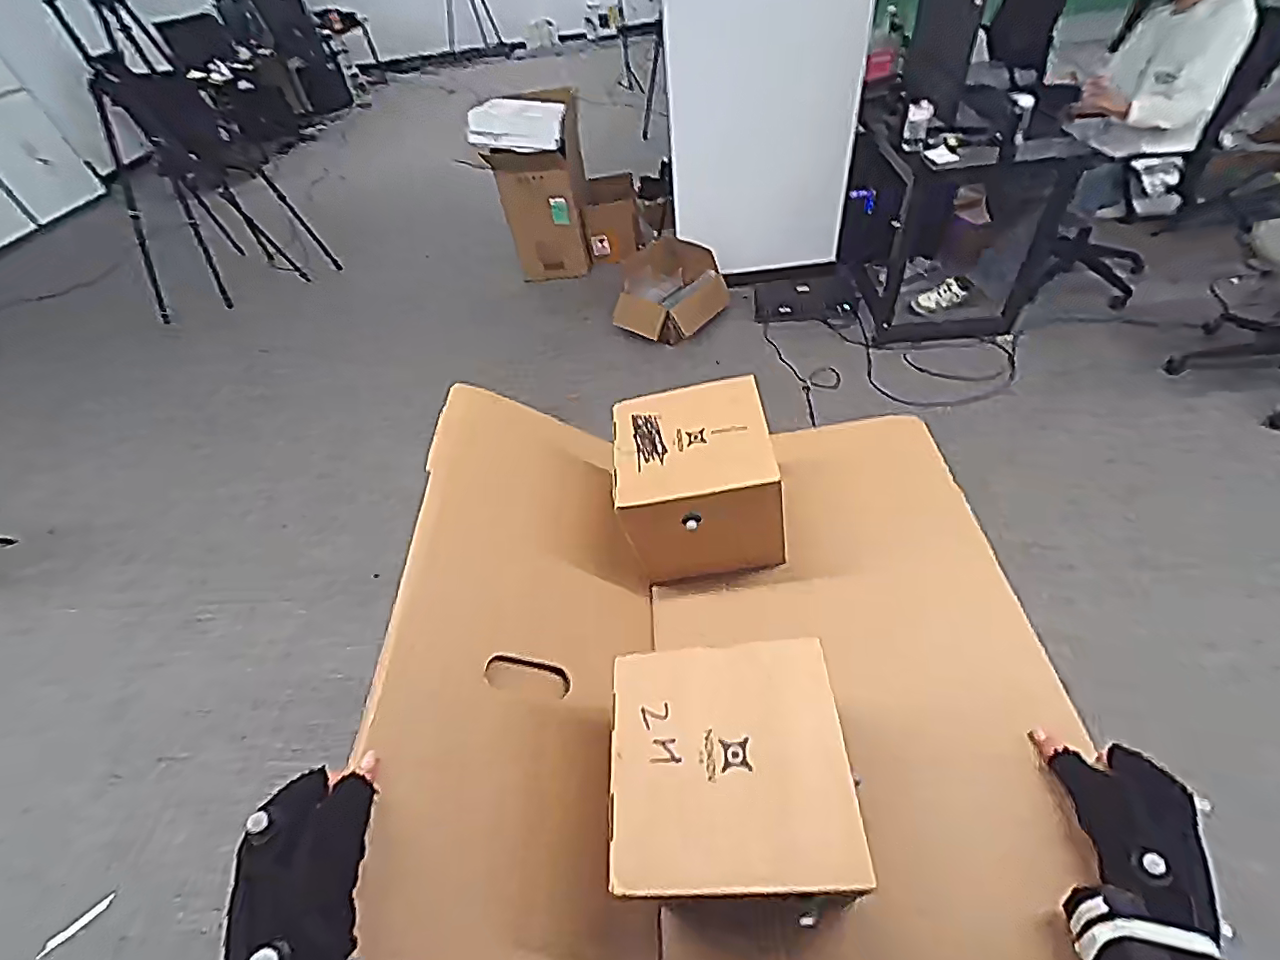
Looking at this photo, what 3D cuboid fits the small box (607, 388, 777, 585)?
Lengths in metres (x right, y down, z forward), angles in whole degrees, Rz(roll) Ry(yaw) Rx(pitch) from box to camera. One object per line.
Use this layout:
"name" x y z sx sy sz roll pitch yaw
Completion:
"small box" 0.066 0.015 0.676 0.179 0.176 0.168 -11 49 8
